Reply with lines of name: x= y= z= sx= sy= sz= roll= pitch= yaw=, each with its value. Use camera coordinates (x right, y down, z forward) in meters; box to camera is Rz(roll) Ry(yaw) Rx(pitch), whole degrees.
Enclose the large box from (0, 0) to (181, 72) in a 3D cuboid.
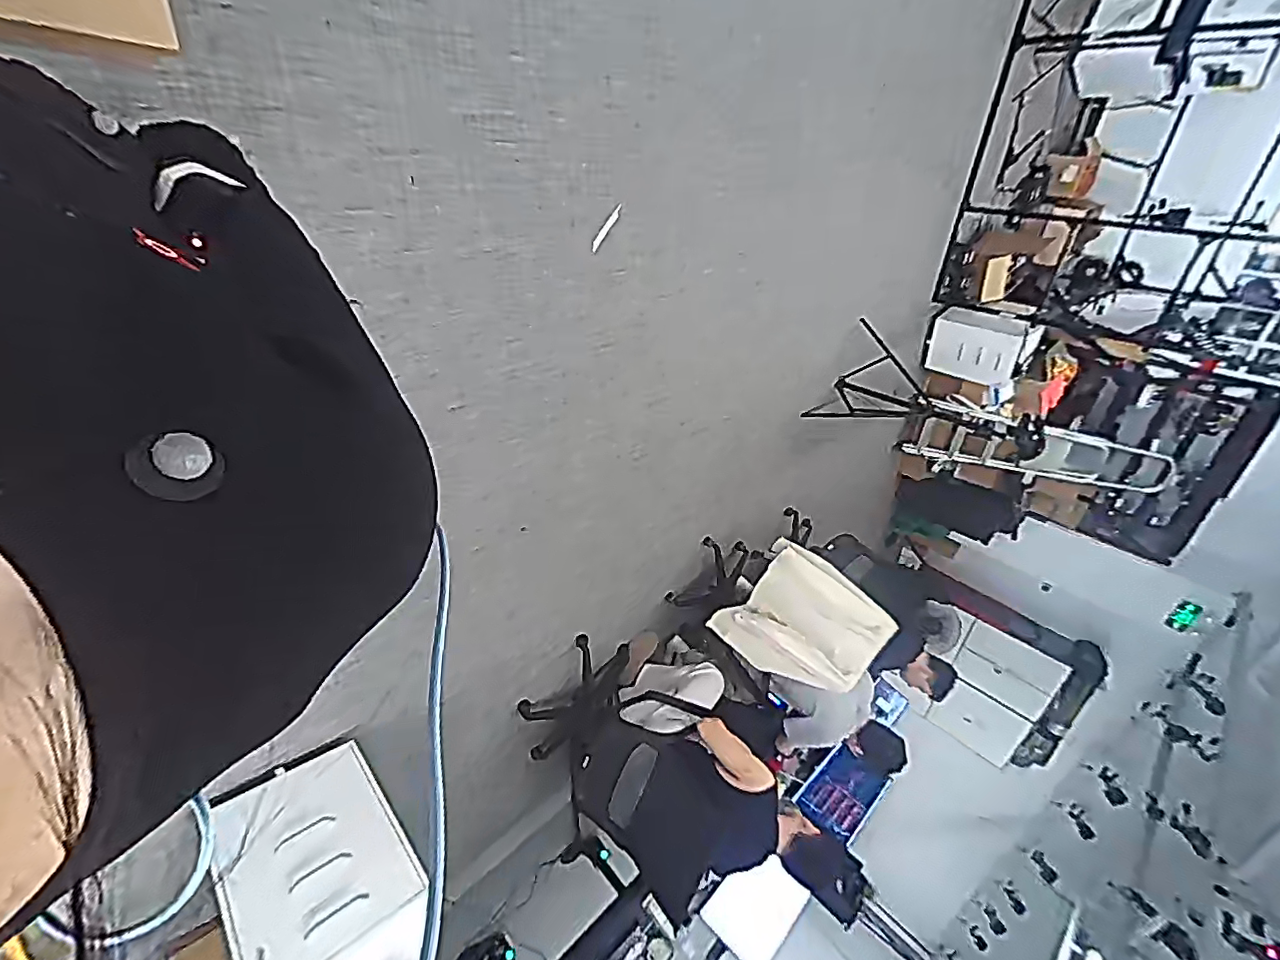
large box: x=-0.846 y=-0.698 z=0.613 sx=0.408 sy=0.320 sz=0.320 roll=-21 pitch=129 yaw=-41
